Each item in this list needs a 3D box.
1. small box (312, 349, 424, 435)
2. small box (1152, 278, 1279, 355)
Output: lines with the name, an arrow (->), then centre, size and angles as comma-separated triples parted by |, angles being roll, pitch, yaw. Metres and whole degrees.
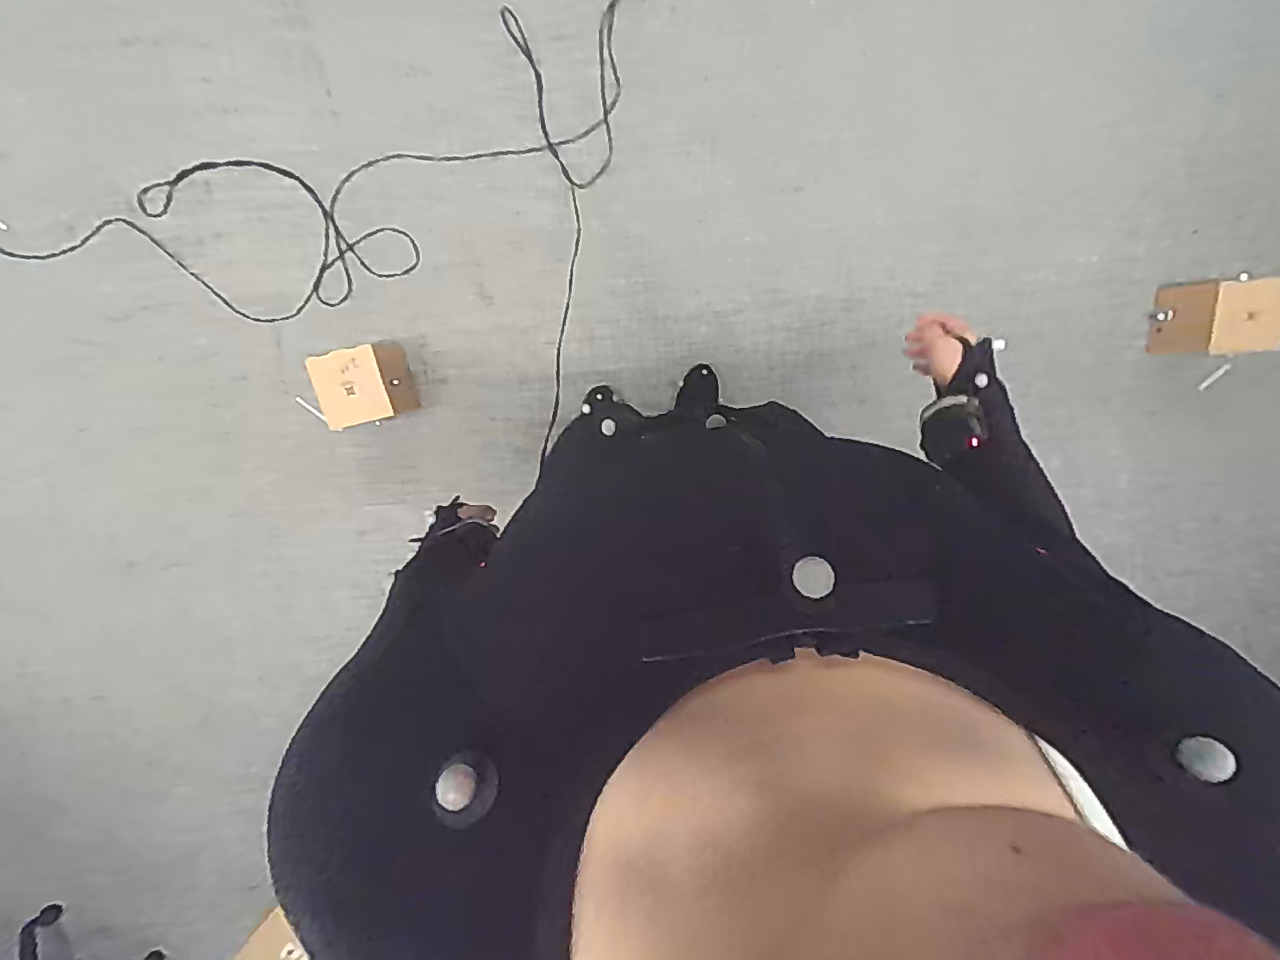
small box -> -0.668, -0.225, 1.350 | 0.168, 0.176, 0.179 | -13, 103, 3
small box -> 1.435, -0.400, 1.333 | 0.179, 0.176, 0.168 | -4, 102, 2
